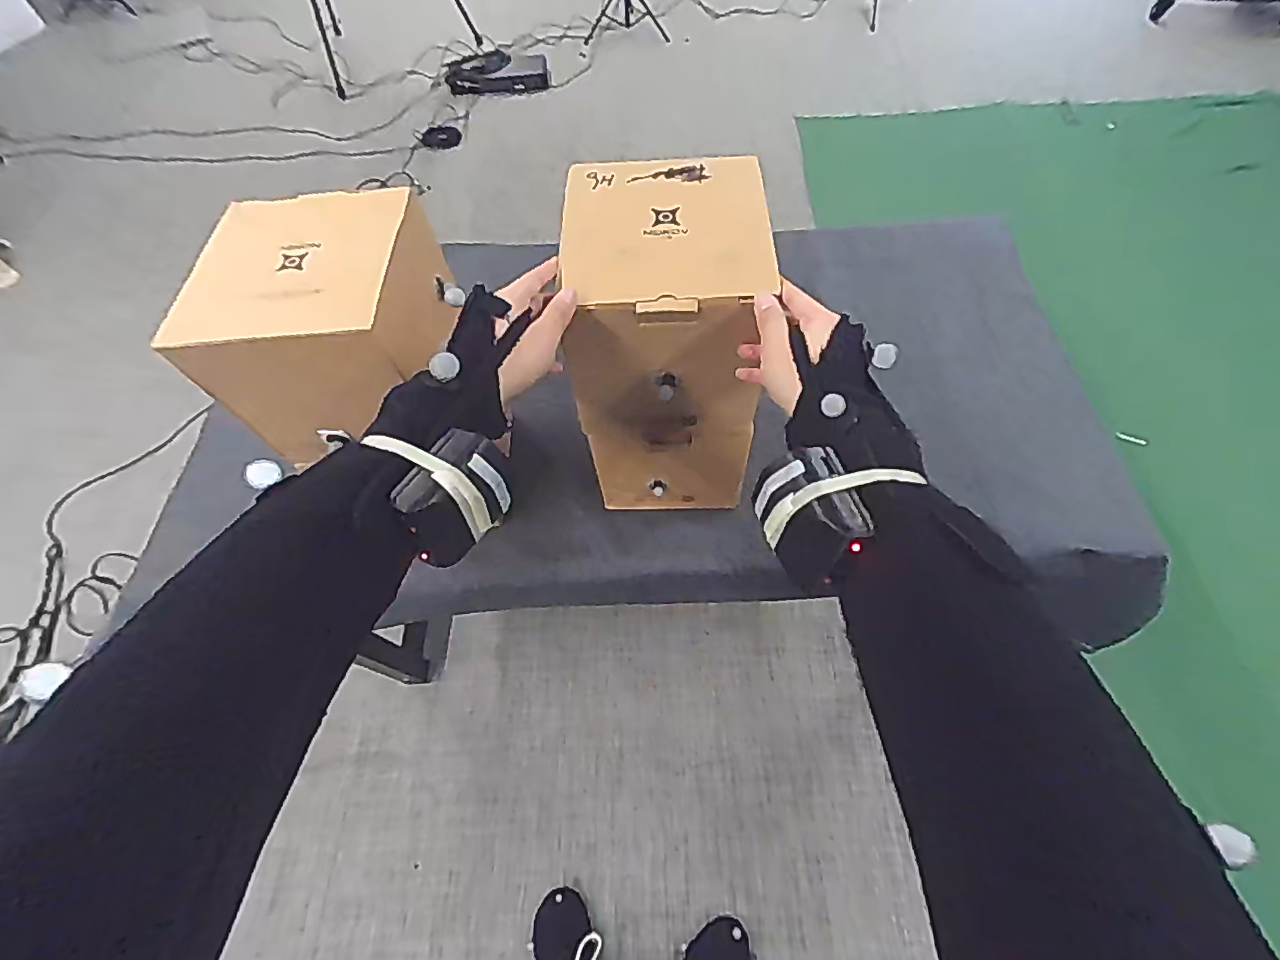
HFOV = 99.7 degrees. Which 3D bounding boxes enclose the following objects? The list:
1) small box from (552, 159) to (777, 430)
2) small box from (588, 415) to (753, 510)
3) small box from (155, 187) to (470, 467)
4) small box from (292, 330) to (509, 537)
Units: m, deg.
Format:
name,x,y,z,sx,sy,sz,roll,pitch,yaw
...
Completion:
name,x,y,z,sx,sy,sz,roll,pitch,yaw
small box,0.023,-0.157,0.495,0.168,0.176,0.179,-1,61,3
small box,0.034,-0.079,0.638,0.168,0.176,0.179,-1,60,3
small box,-0.267,-0.132,0.496,0.168,0.176,0.179,-6,60,2
small box,-0.258,-0.049,0.636,0.168,0.176,0.179,-4,60,1
